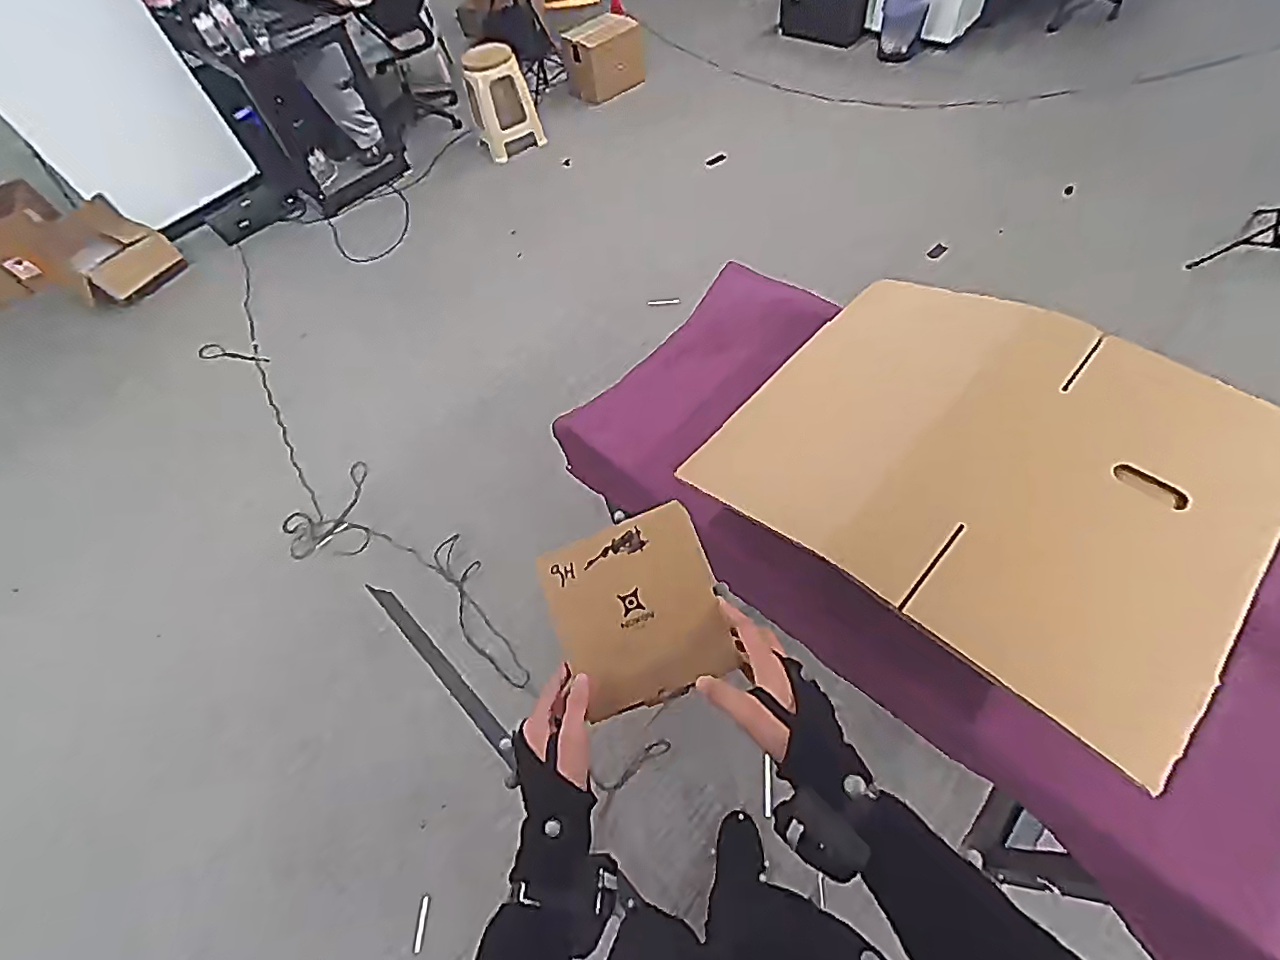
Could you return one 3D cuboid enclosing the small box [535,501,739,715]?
[{"bbox_3d":[0.006,0.136,0.623,0.168,0.176,0.179,-22,81,5],"label":"small box"}]
